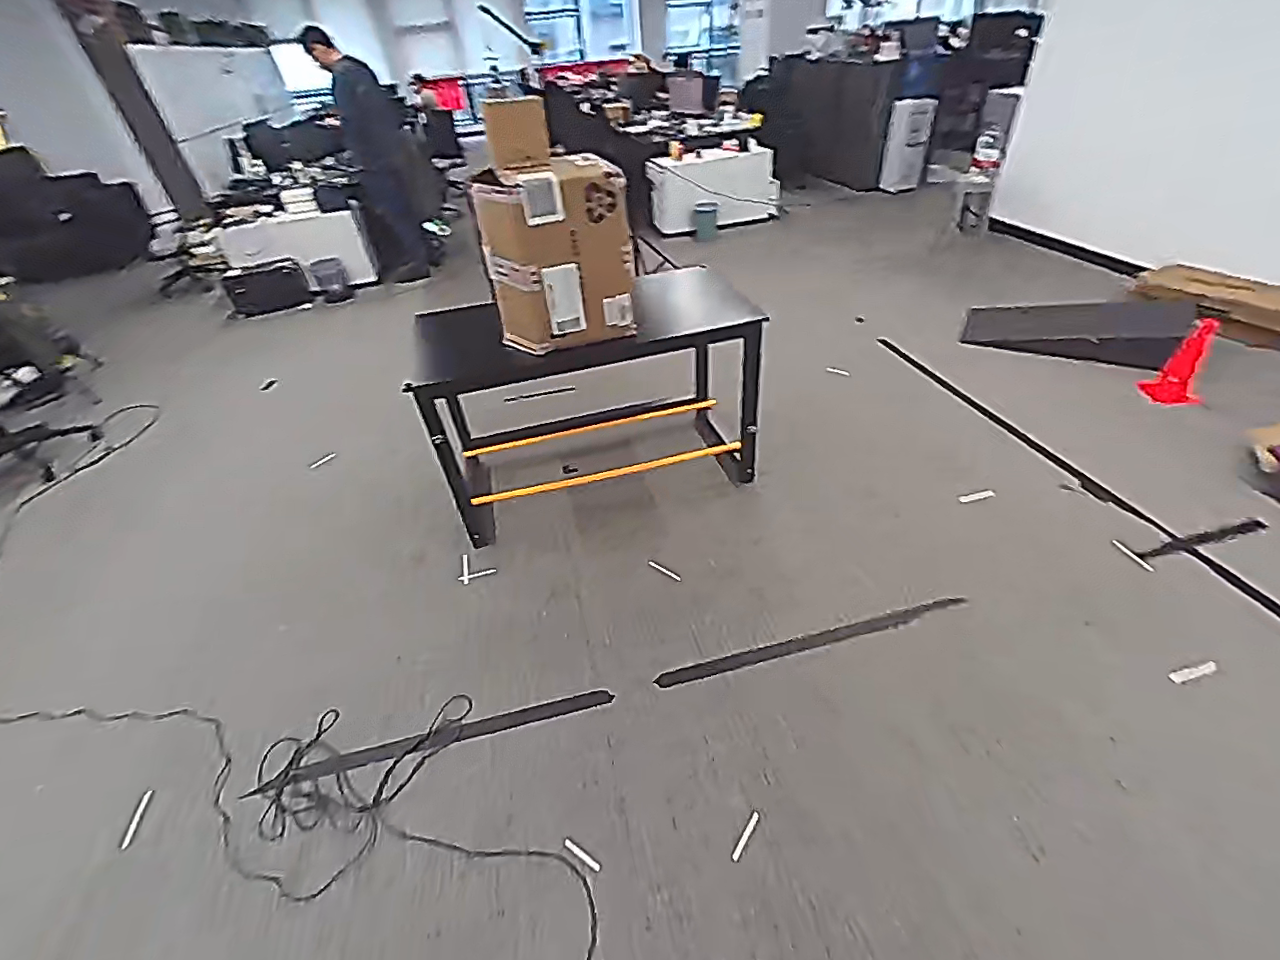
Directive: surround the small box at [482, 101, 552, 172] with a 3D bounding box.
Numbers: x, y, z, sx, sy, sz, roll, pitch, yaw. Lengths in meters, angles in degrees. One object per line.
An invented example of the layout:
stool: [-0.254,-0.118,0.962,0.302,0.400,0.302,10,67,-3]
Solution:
small box: [-0.373,-1.043,1.640,0.168,0.176,0.179,-15,38,-13]
